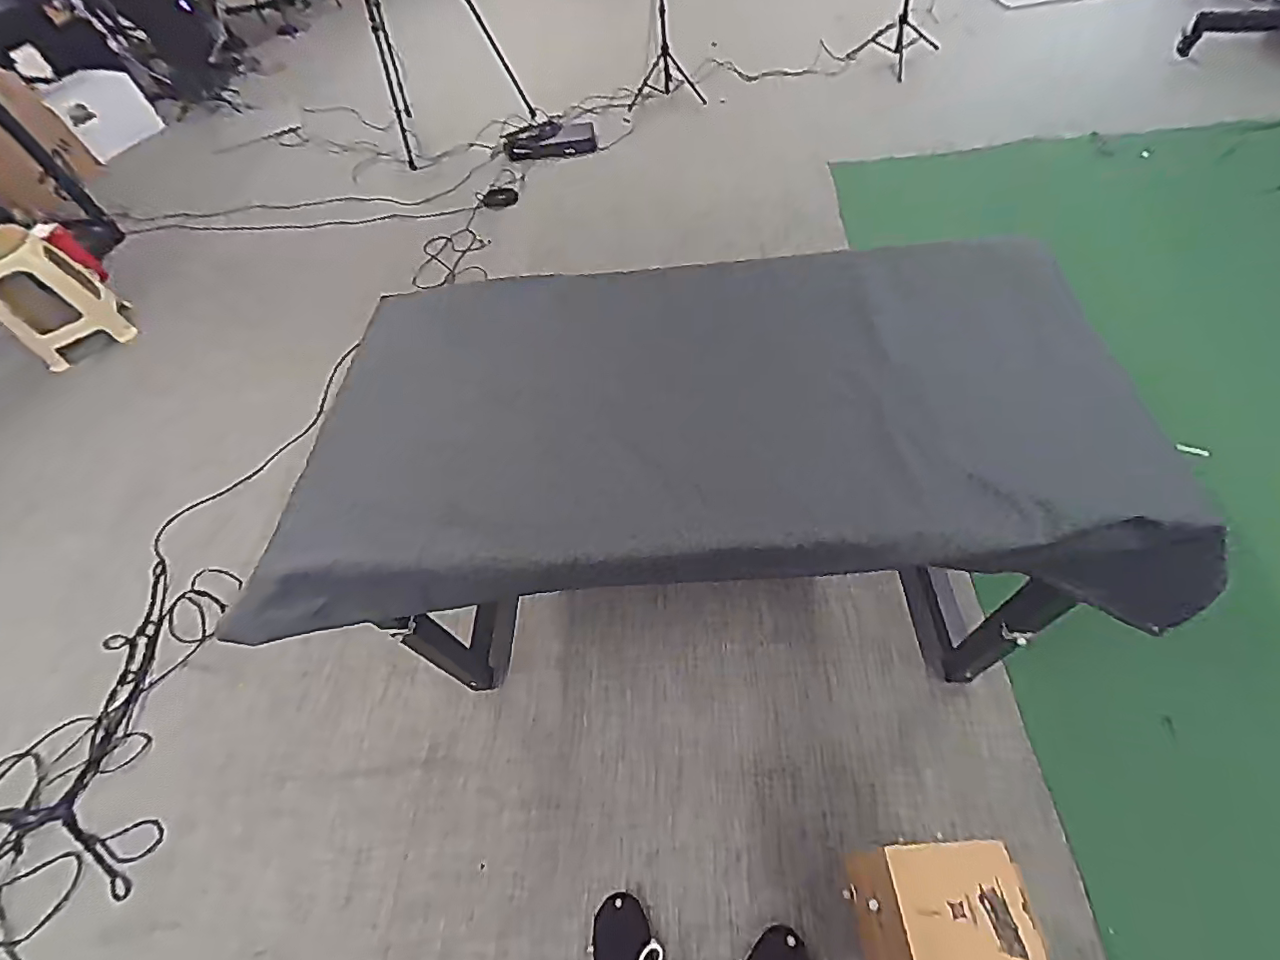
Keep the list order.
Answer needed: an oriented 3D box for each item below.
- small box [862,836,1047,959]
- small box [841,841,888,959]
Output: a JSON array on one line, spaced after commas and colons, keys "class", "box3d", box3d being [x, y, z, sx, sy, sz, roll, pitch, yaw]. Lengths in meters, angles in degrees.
[{"class": "small box", "box3d": [0.463, 0.645, 0.824, 0.179, 0.176, 0.168, -7, 54, 4]}, {"class": "small box", "box3d": [0.476, 0.740, 0.958, 0.179, 0.176, 0.168, -6, 54, 5]}]
